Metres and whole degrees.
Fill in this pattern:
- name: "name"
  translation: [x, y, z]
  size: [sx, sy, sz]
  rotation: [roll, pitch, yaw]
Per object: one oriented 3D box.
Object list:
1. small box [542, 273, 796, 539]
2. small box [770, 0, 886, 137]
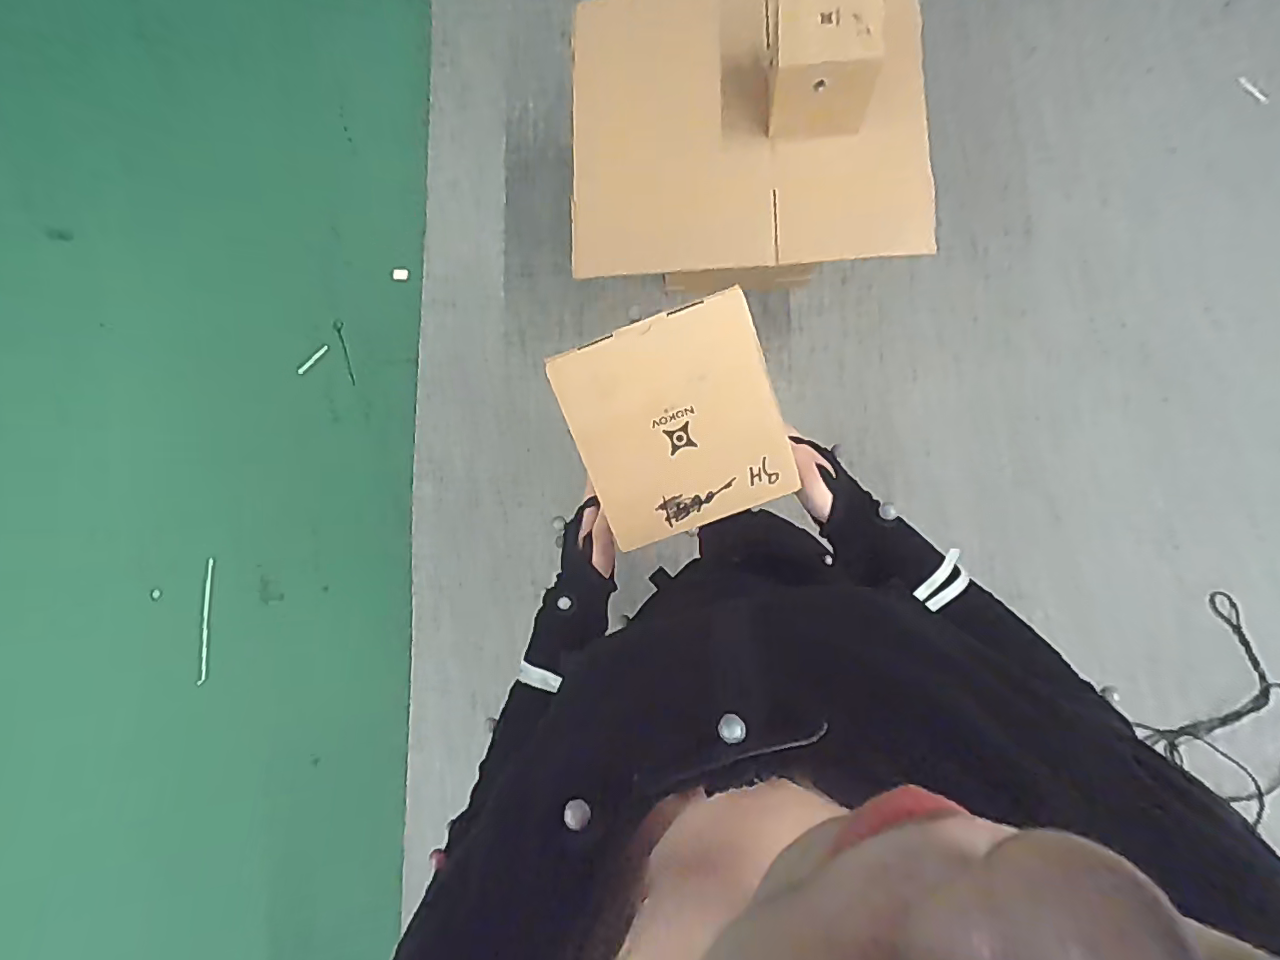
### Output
- name: "small box"
  translation: [0.024, -0.073, 0.513]
  size: [0.168, 0.176, 0.179]
  rotation: [-20, 104, 5]
- name: "small box"
  translation: [0.331, -0.756, 0.980]
  size: [0.179, 0.176, 0.168]
  rotation: [1, 85, 8]
